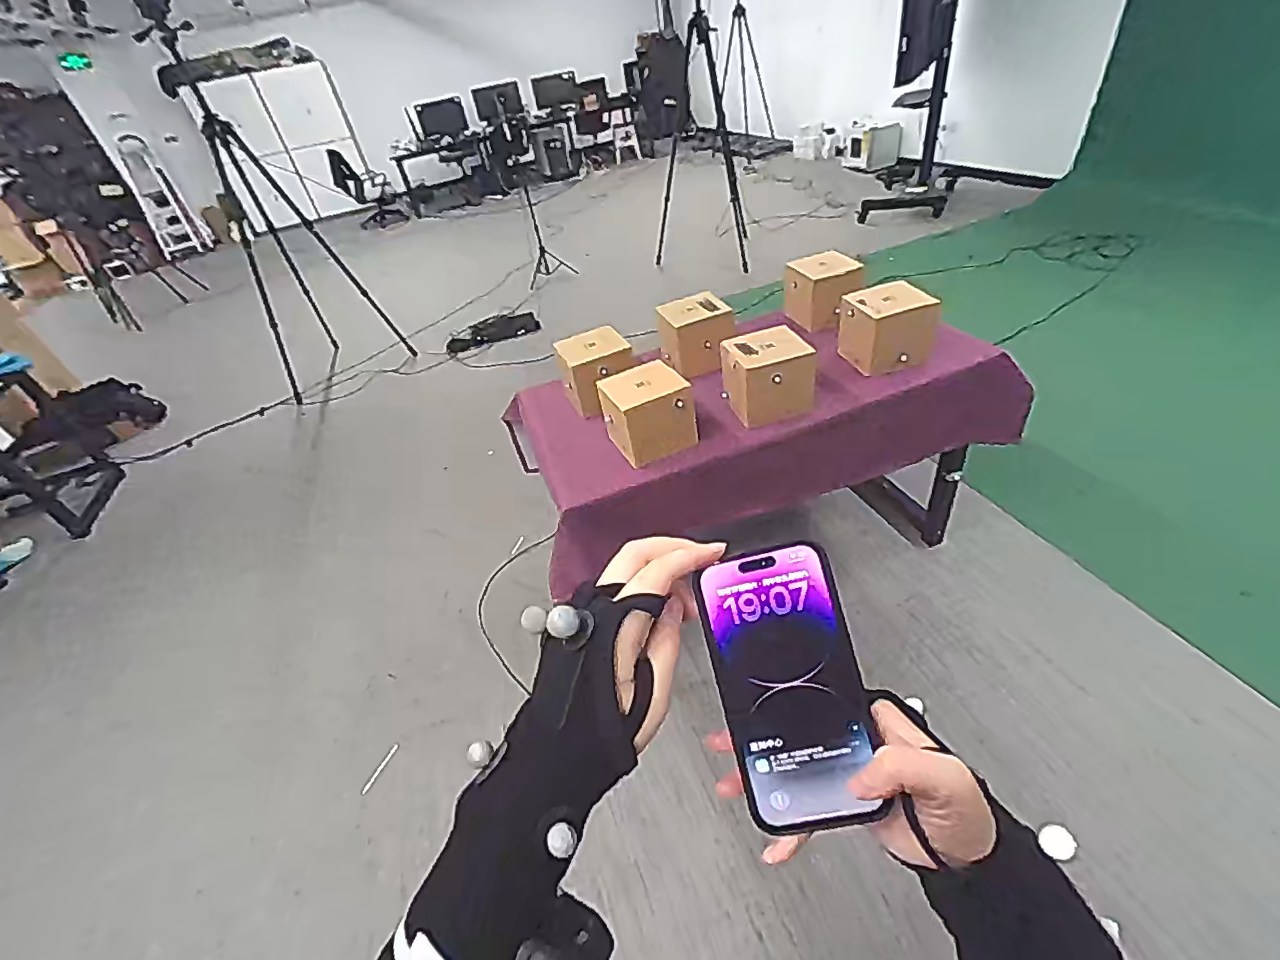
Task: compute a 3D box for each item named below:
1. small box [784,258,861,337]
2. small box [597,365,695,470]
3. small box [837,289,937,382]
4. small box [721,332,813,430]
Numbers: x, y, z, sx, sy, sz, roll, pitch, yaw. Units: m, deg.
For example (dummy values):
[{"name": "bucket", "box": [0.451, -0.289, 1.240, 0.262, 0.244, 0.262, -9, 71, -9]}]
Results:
[{"name": "small box", "box": [0.557, -0.565, 1.677, 0.168, 0.176, 0.179, -18, 40, -7]}, {"name": "small box", "box": [0.018, -0.150, 1.308, 0.179, 0.176, 0.168, -22, 40, -15]}, {"name": "small box", "box": [0.647, -0.384, 1.437, 0.179, 0.176, 0.168, -15, 39, -4]}, {"name": "small box", "box": [0.314, -0.245, 1.349, 0.179, 0.176, 0.168, -15, 39, -6]}]
